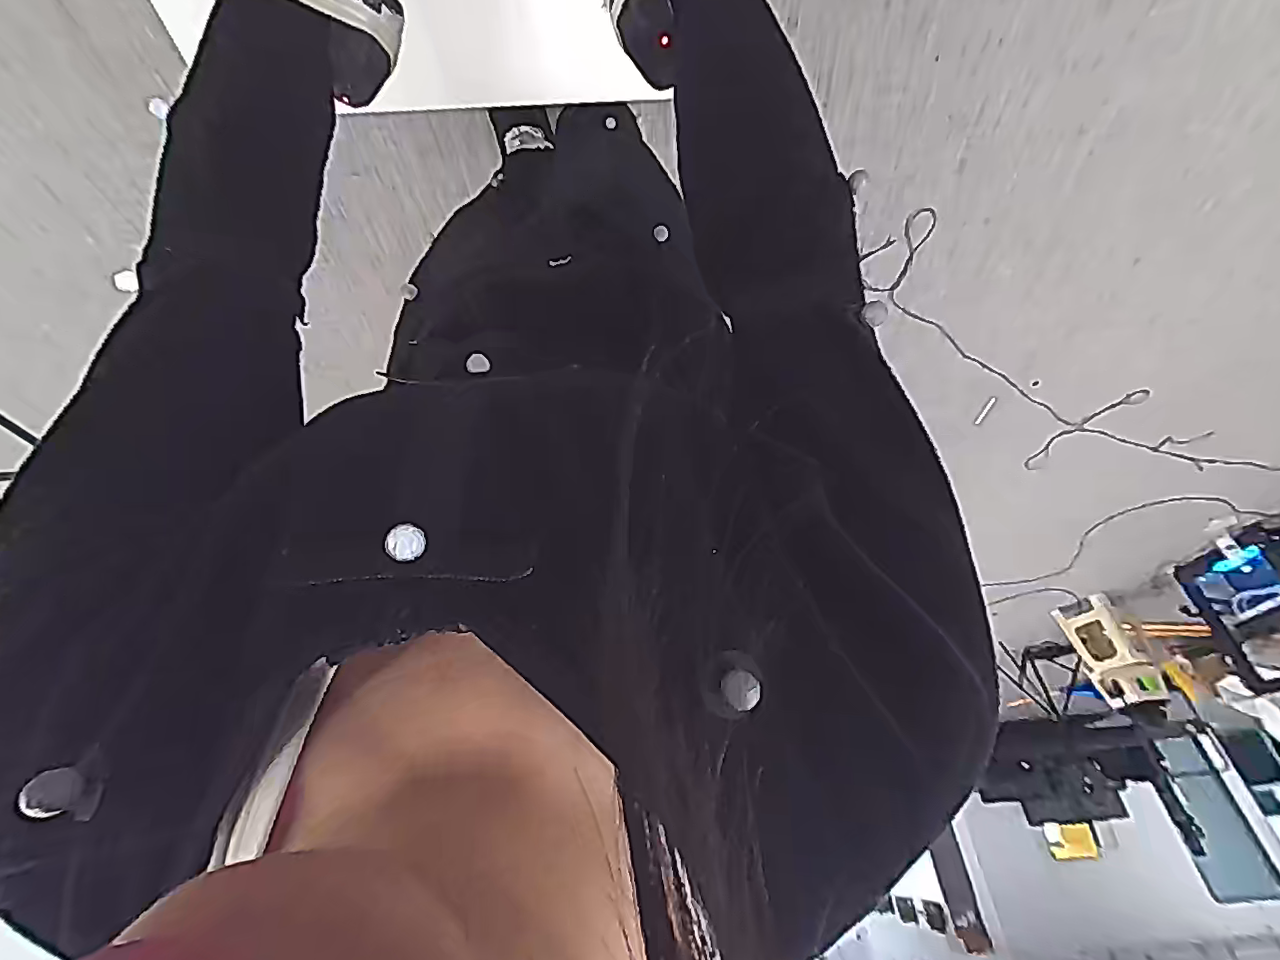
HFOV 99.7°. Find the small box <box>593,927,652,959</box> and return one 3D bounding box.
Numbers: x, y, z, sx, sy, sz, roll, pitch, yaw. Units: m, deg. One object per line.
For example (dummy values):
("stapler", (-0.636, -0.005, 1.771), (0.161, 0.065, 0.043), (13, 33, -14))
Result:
("small box", (-0.051, 1.540, 1.714), (0.179, 0.176, 0.168), (-5, 146, 4))
